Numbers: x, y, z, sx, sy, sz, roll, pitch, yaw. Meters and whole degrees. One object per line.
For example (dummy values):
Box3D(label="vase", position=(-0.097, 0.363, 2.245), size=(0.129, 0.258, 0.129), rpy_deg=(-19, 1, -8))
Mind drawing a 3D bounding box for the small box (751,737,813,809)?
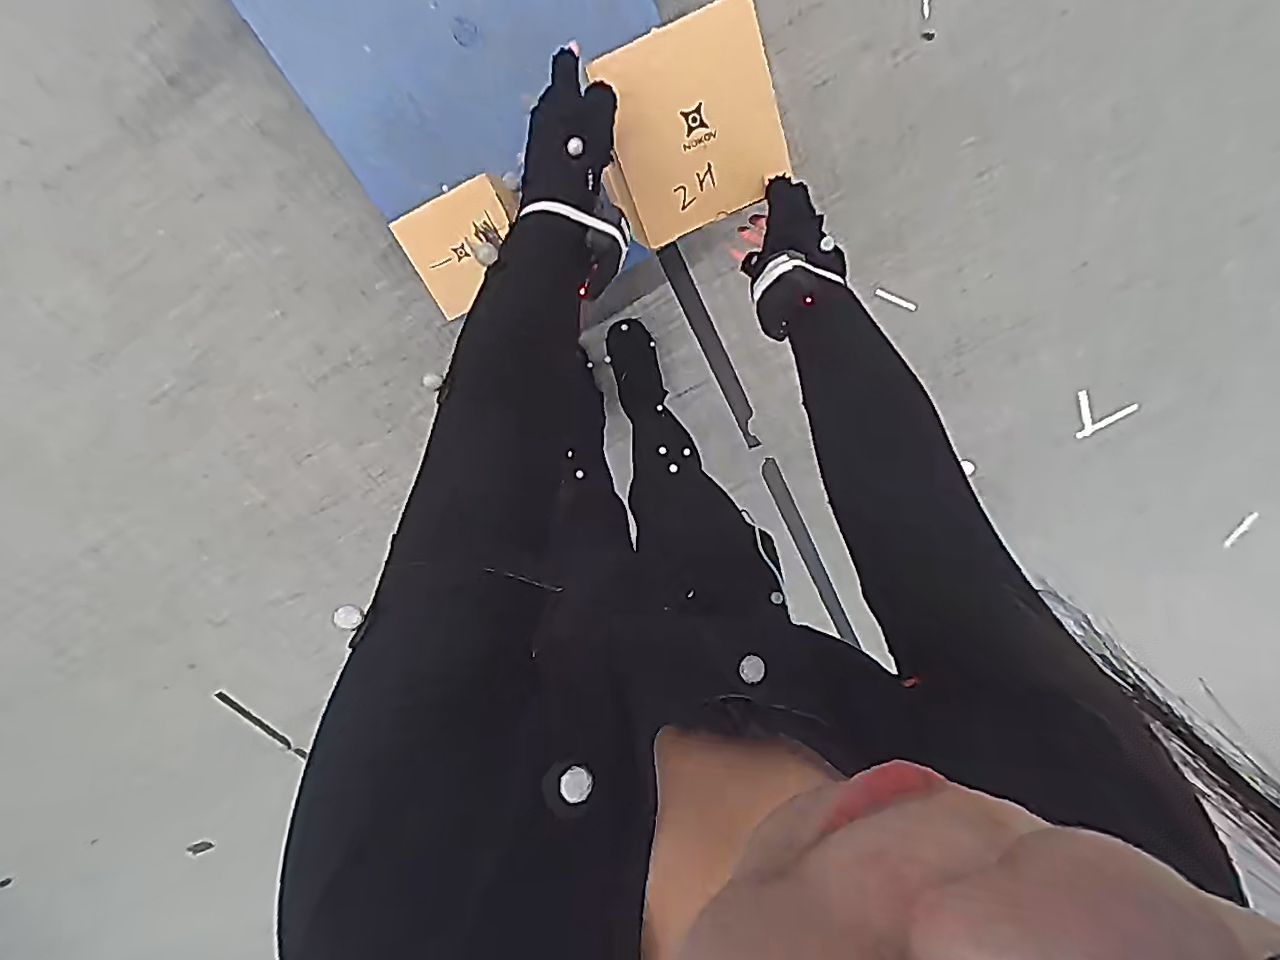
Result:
Box3D(label="small box", position=(0.540, 1.116, 2.078), size=(0.168, 0.176, 0.179), rpy_deg=(-22, 119, 7))

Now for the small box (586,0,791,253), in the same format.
Box3D(label="small box", position=(0.045, -0.378, 0.608), size=(0.168, 0.176, 0.179), rpy_deg=(-22, 118, 5))

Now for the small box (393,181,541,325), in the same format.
Box3D(label="small box", position=(-0.283, -0.397, 0.934), size=(0.179, 0.176, 0.168), rpy_deg=(-24, 118, 8))

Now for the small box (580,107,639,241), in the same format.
Box3D(label="small box", position=(0.029, -0.453, 0.754), size=(0.179, 0.176, 0.168), rpy_deg=(-24, 118, 5))
